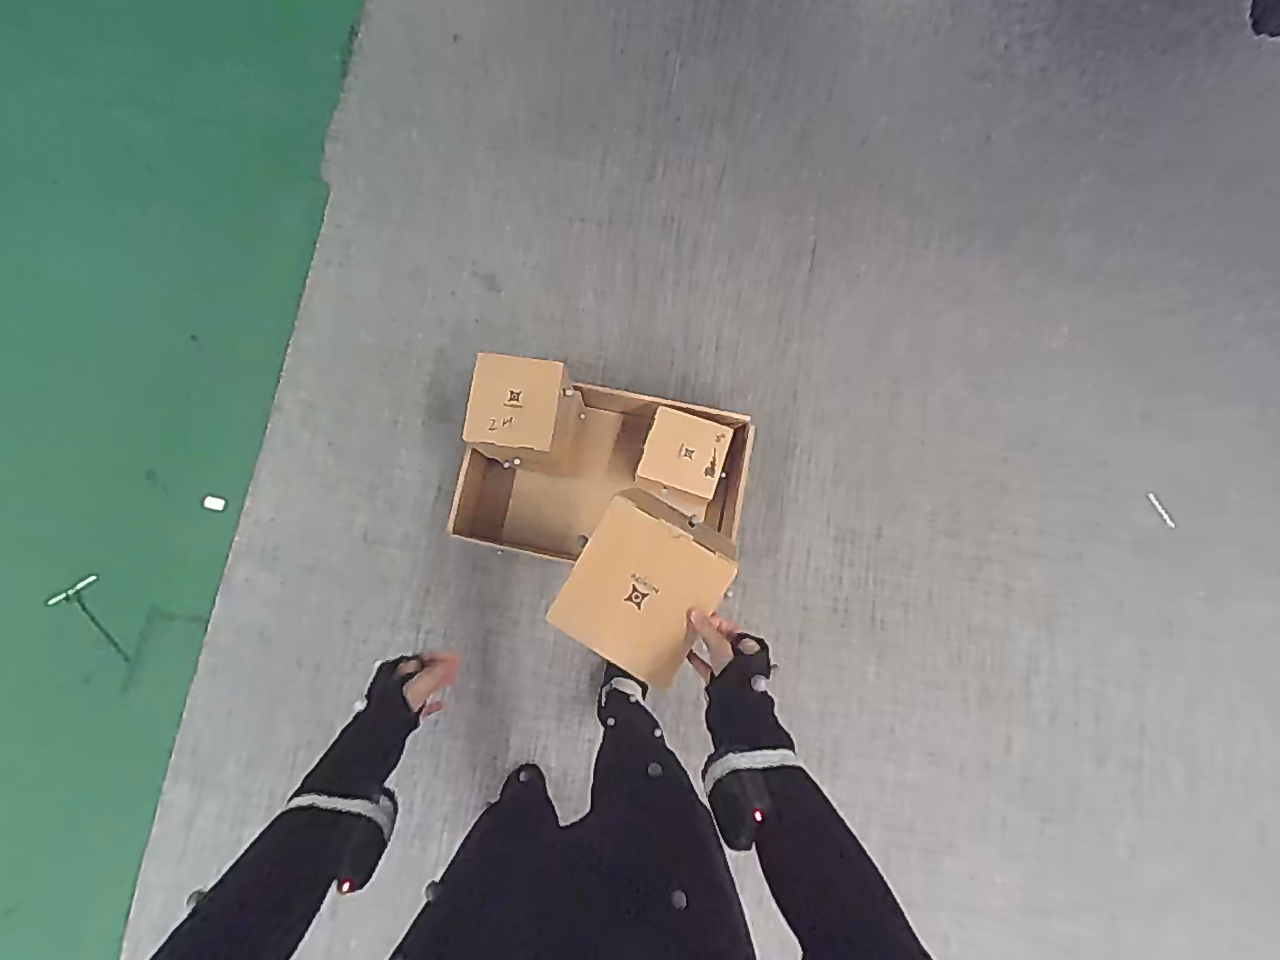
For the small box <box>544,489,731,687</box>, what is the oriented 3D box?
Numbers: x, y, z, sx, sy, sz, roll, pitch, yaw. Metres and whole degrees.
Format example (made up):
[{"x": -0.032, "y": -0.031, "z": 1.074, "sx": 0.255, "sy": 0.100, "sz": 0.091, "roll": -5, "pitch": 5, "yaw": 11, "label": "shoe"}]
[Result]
[{"x": 0.008, "y": 0.125, "z": 0.703, "sx": 0.168, "sy": 0.176, "sz": 0.179, "roll": 30, "pitch": 95, "yaw": 8, "label": "small box"}]

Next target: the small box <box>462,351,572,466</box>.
[{"x": -0.235, "y": -0.136, "z": 1.084, "sx": 0.168, "sy": 0.176, "sz": 0.179, "roll": 9, "pitch": 83, "yaw": 2, "label": "small box"}]
